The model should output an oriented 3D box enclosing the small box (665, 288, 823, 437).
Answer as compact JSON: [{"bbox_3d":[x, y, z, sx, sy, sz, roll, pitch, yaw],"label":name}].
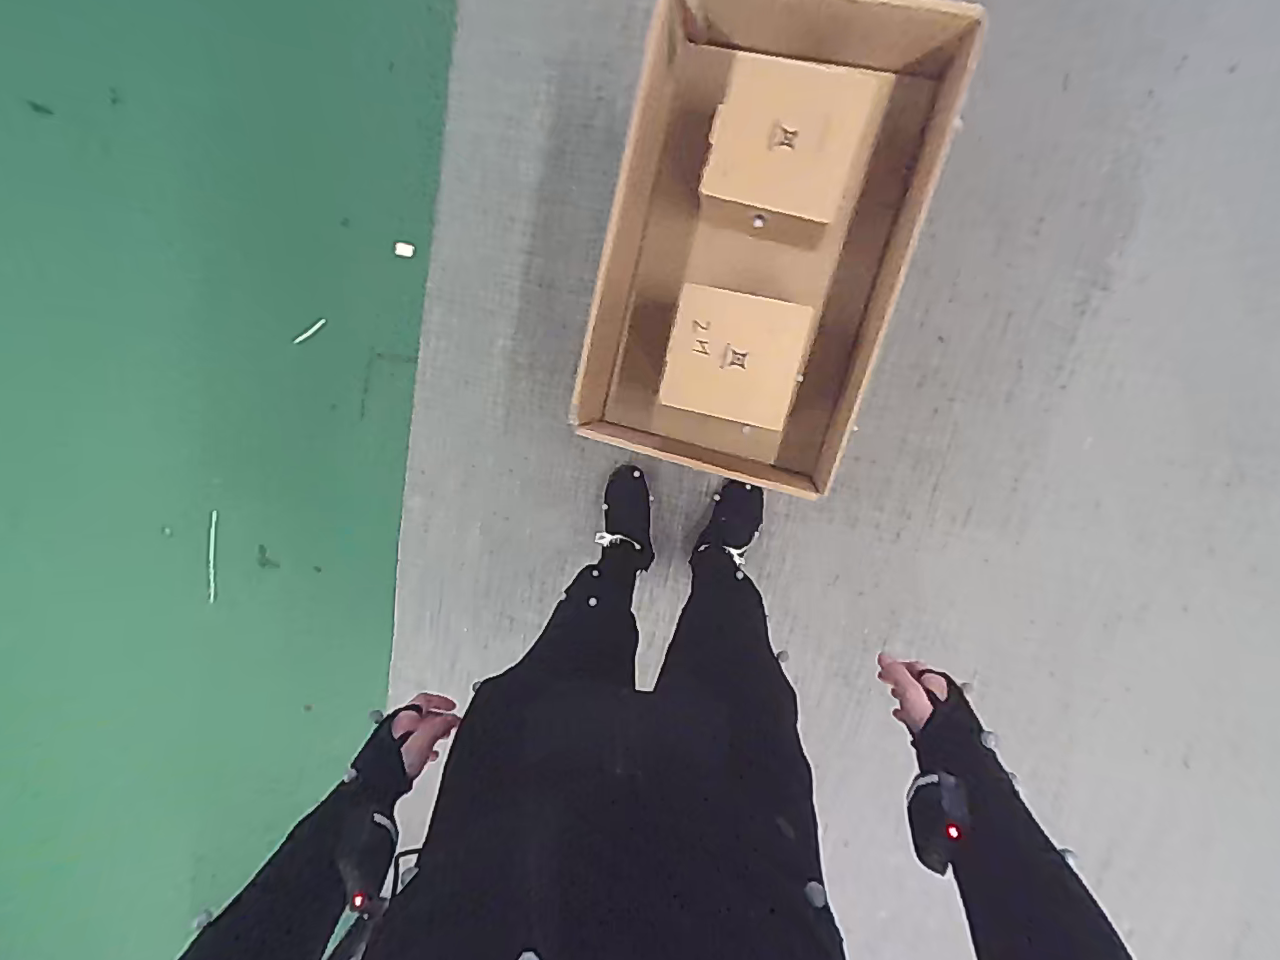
[{"bbox_3d":[0.150,-0.171,0.799,0.179,0.176,0.168,15,102,9],"label":"small box"}]

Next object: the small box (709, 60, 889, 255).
[{"bbox_3d":[0.207,-0.427,0.746,0.179,0.176,0.168,19,104,7],"label":"small box"}]
